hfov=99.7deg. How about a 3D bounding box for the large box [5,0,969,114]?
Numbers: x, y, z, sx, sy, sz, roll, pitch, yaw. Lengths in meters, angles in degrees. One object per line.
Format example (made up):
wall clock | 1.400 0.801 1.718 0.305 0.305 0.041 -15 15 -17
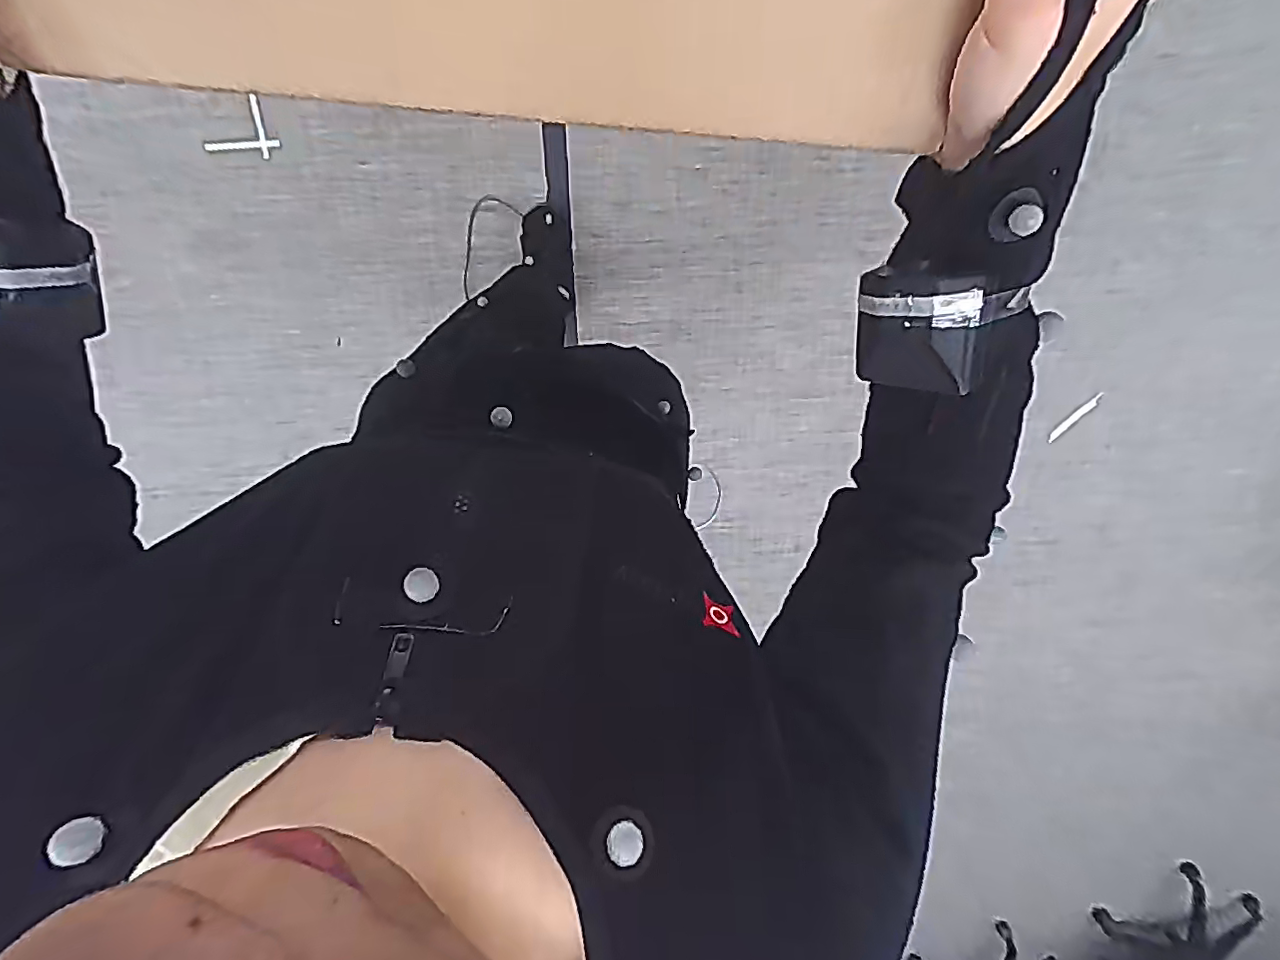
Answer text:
large box | -0.056 -0.389 0.257 0.408 0.320 0.320 3 131 -4
